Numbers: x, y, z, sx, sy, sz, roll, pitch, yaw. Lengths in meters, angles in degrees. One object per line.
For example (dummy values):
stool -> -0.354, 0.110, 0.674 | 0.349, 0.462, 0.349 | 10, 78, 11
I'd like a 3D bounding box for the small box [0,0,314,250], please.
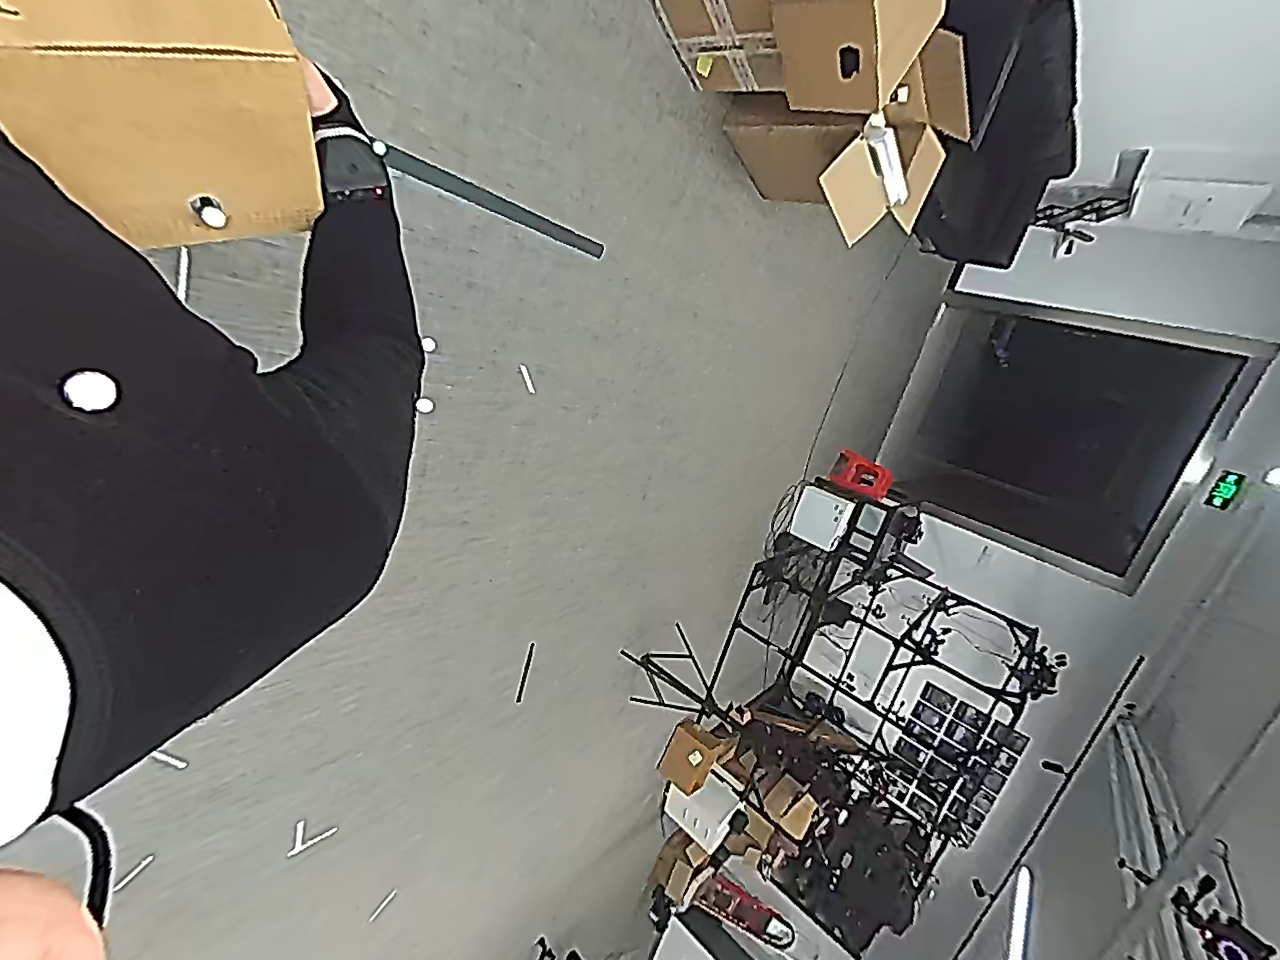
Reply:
small box -> -0.379, -0.310, 0.424 | 0.179, 0.168, 0.176 | -24, 173, -29
